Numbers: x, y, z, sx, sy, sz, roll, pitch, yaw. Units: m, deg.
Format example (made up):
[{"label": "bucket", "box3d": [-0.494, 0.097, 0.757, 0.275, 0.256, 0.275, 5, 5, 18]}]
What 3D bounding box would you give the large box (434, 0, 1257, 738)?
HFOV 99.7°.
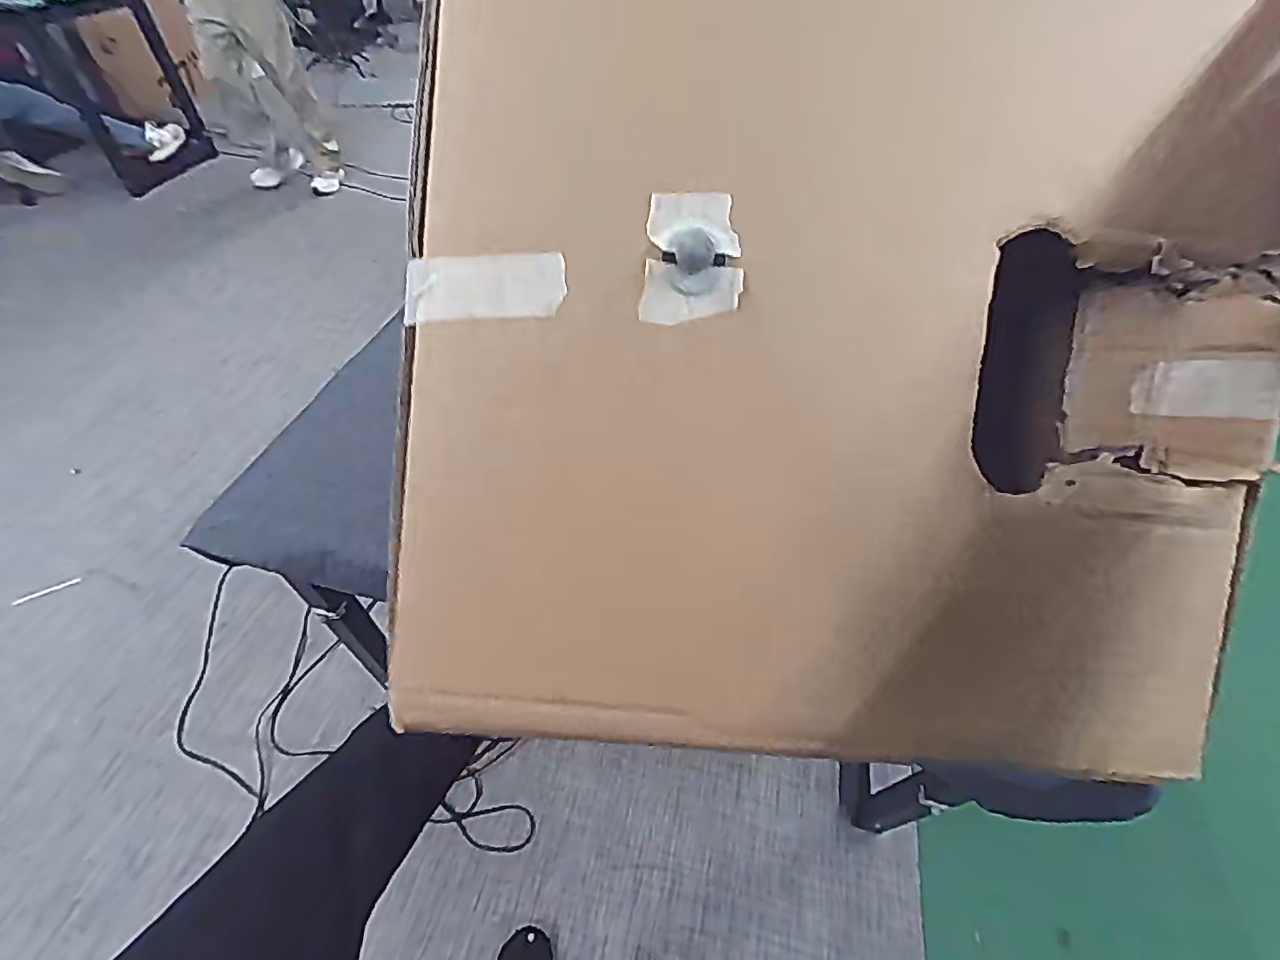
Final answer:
[{"label": "large box", "box3d": [0.064, -0.064, 0.401, 0.320, 0.408, 0.320, 5, 94, -5]}]
